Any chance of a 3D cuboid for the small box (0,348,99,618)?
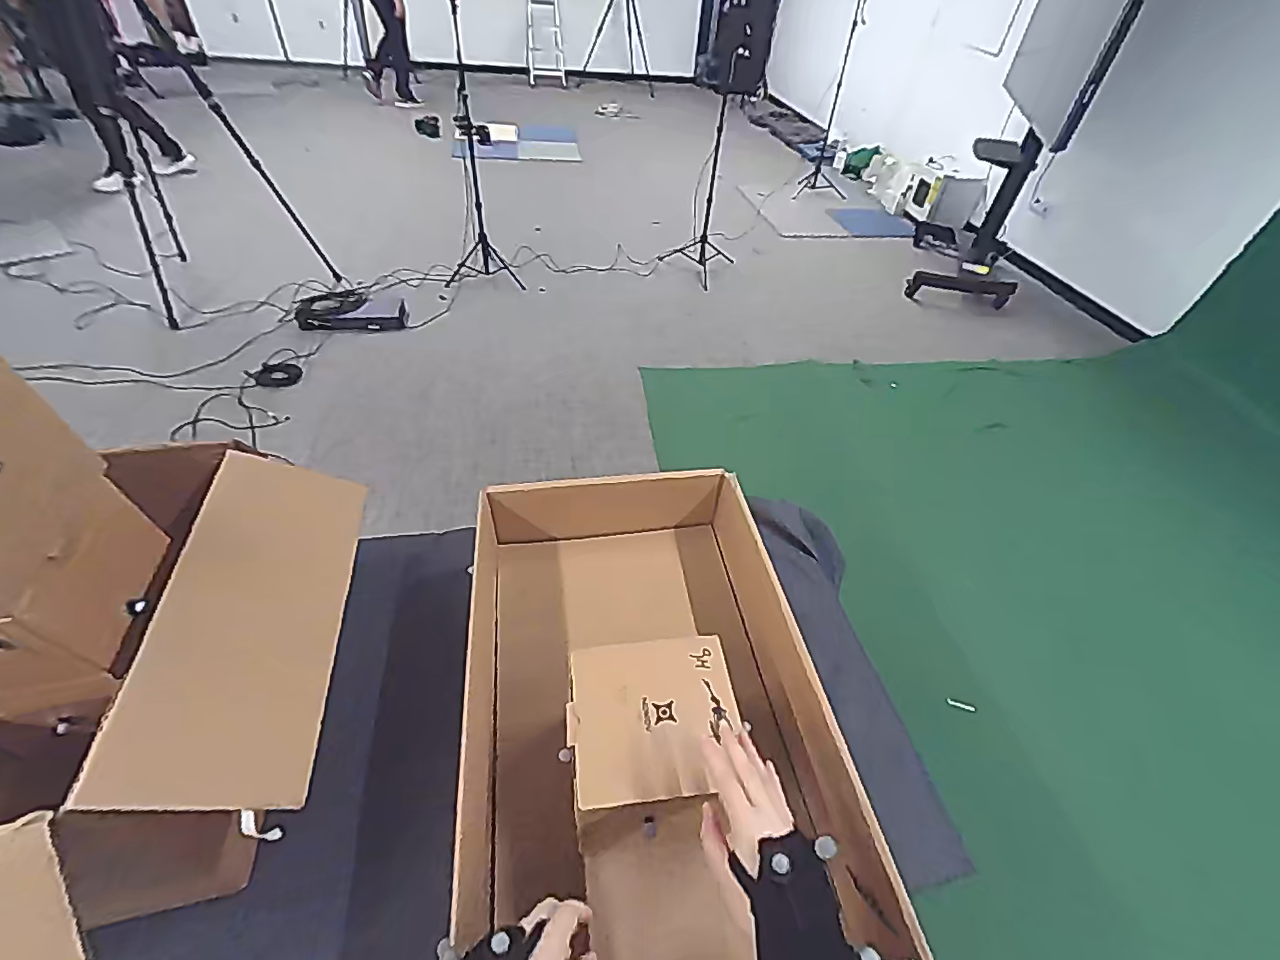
[{"bbox_3d":[-0.602,0.003,0.429,0.168,0.176,0.179,-6,50,-9],"label":"small box"}]
